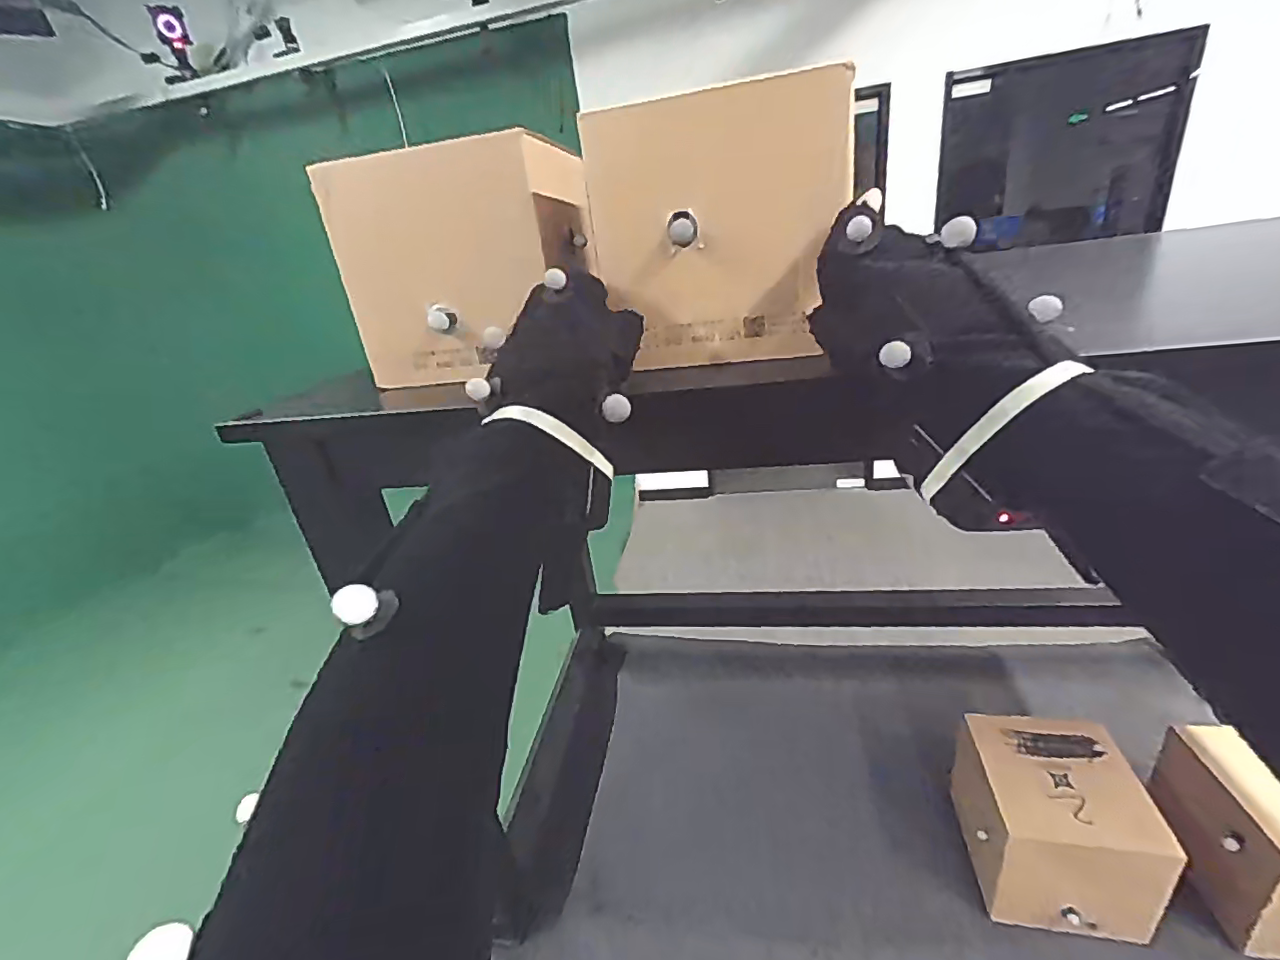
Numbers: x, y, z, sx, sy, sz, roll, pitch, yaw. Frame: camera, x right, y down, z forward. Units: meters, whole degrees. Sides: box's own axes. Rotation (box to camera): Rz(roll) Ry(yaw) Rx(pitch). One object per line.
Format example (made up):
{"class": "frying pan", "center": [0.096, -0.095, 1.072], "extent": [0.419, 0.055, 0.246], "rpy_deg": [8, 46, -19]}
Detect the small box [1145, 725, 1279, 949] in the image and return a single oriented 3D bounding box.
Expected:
{"class": "small box", "center": [0.760, 0.421, 0.639], "extent": [0.168, 0.176, 0.179], "rpy_deg": [-3, 23, 11]}

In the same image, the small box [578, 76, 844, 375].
{"class": "small box", "center": [0.066, -0.184, 0.431], "extent": [0.168, 0.176, 0.179], "rpy_deg": [-3, 24, 13]}

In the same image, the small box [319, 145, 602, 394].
{"class": "small box", "center": [-0.136, -0.183, 0.487], "extent": [0.168, 0.176, 0.179], "rpy_deg": [-4, 25, 11]}
